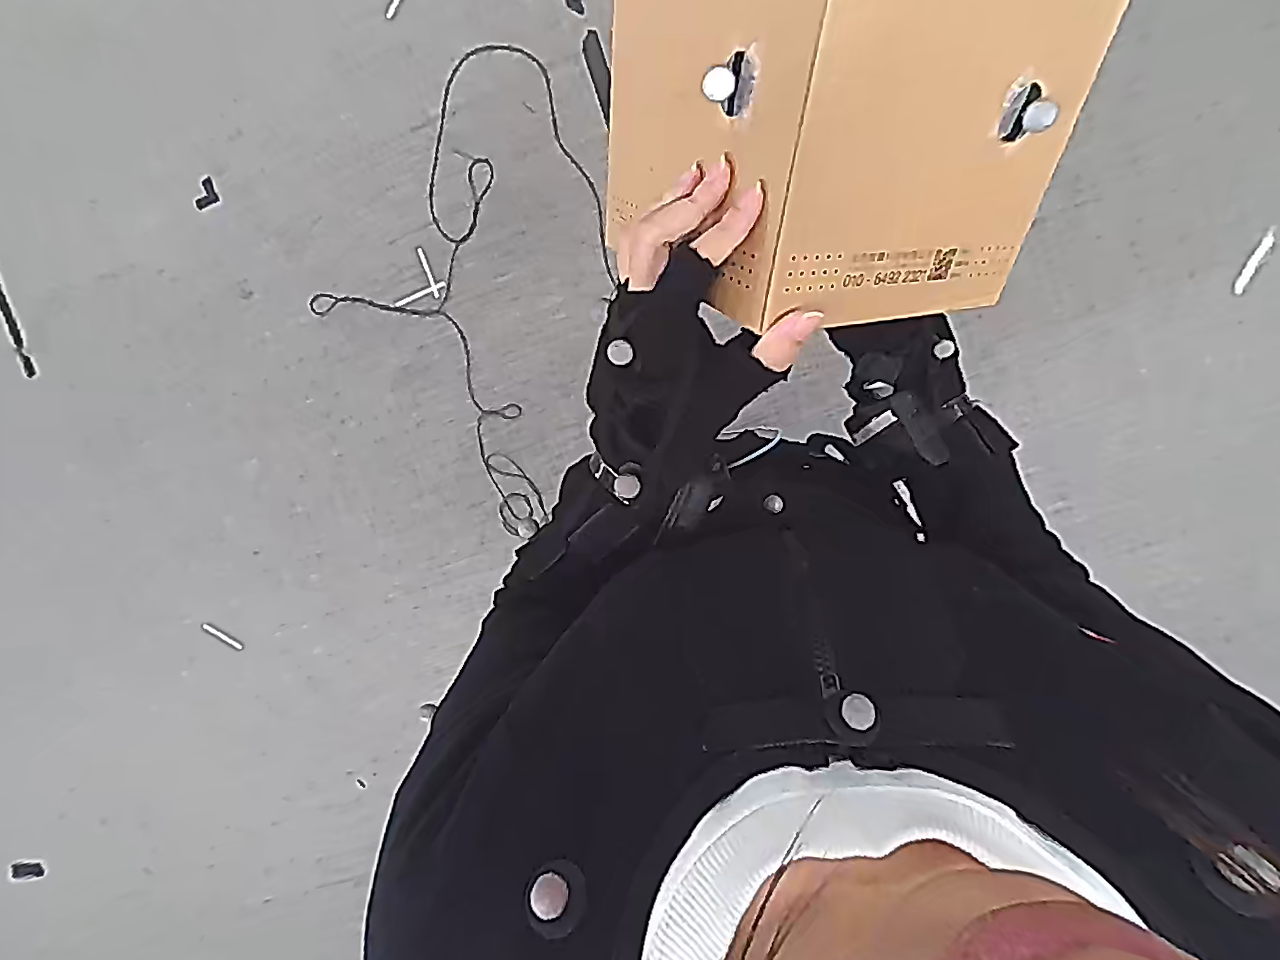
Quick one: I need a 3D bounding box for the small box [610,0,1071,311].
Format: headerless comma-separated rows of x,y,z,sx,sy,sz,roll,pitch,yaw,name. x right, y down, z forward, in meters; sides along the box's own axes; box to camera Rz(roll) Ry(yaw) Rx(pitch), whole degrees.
0.090,-0.200,0.304,0.168,0.179,0.176,-12,128,-23,small box
